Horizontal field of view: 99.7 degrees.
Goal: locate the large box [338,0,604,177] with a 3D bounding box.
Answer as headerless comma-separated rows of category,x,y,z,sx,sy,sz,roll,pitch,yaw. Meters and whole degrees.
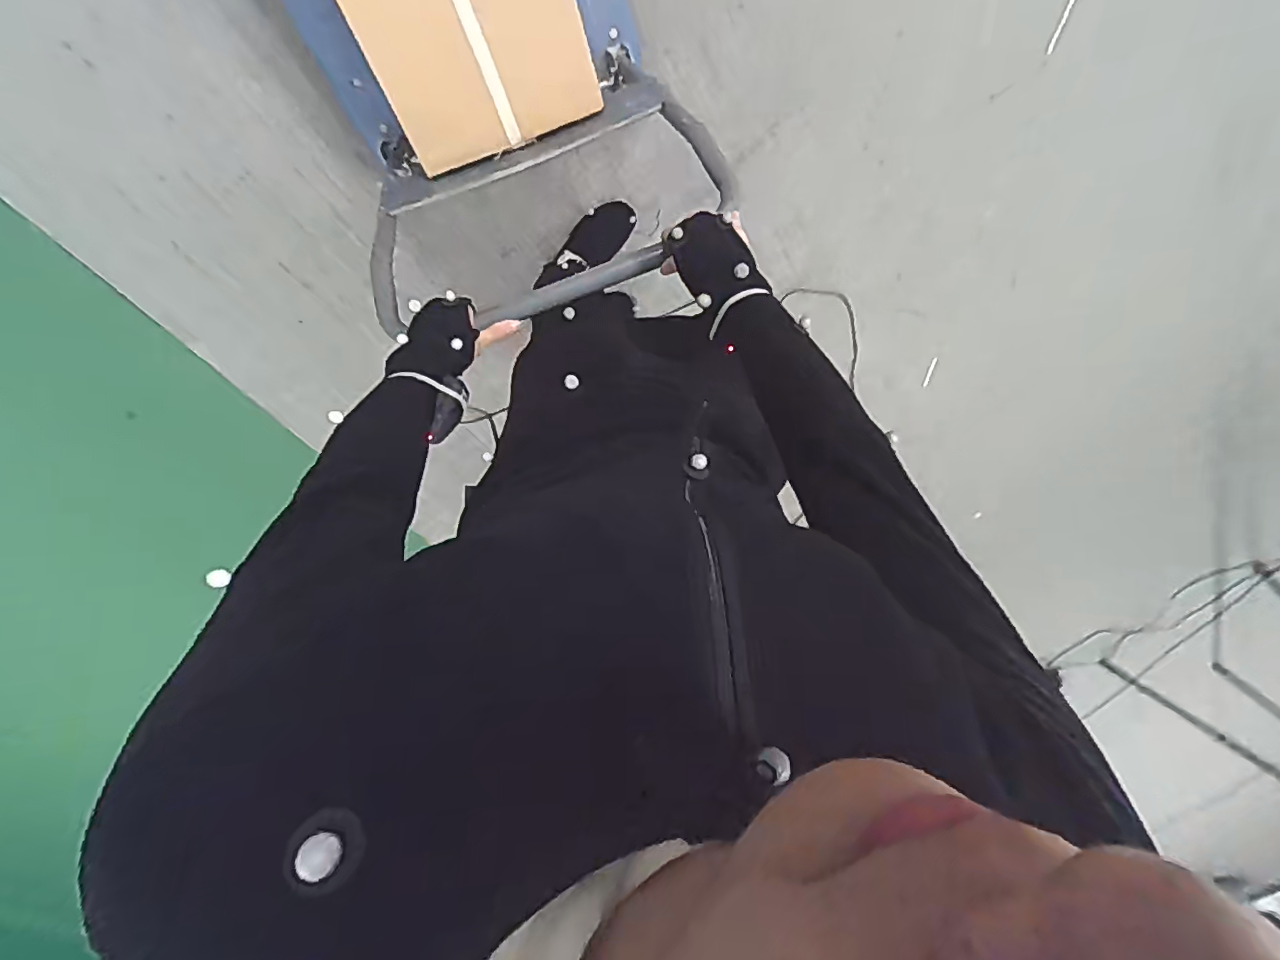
large box,-0.285,-0.777,0.850,0.320,0.320,0.408,-21,135,3
